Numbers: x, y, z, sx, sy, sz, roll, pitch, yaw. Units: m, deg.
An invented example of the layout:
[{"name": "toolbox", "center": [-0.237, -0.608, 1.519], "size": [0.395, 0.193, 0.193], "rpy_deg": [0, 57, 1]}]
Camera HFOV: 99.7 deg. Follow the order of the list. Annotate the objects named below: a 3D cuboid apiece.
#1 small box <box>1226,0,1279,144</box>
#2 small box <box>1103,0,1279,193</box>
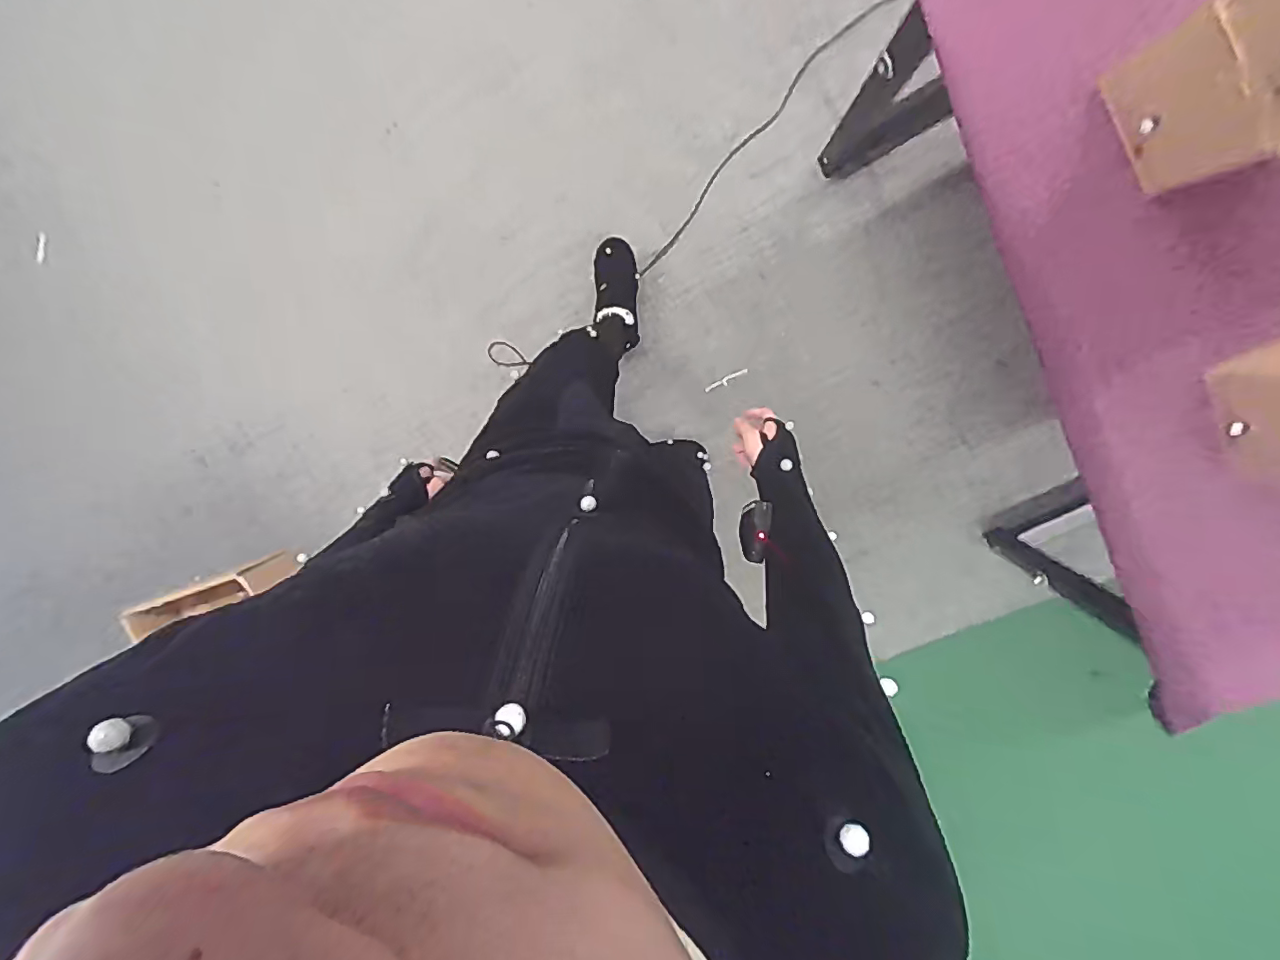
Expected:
[{"name": "small box", "center": [0.676, -0.425, 0.447], "size": [0.179, 0.176, 0.168], "rpy_deg": [-32, 98, 13]}, {"name": "small box", "center": [0.690, -0.462, 0.605], "size": [0.179, 0.176, 0.168], "rpy_deg": [-30, 97, 12]}]
